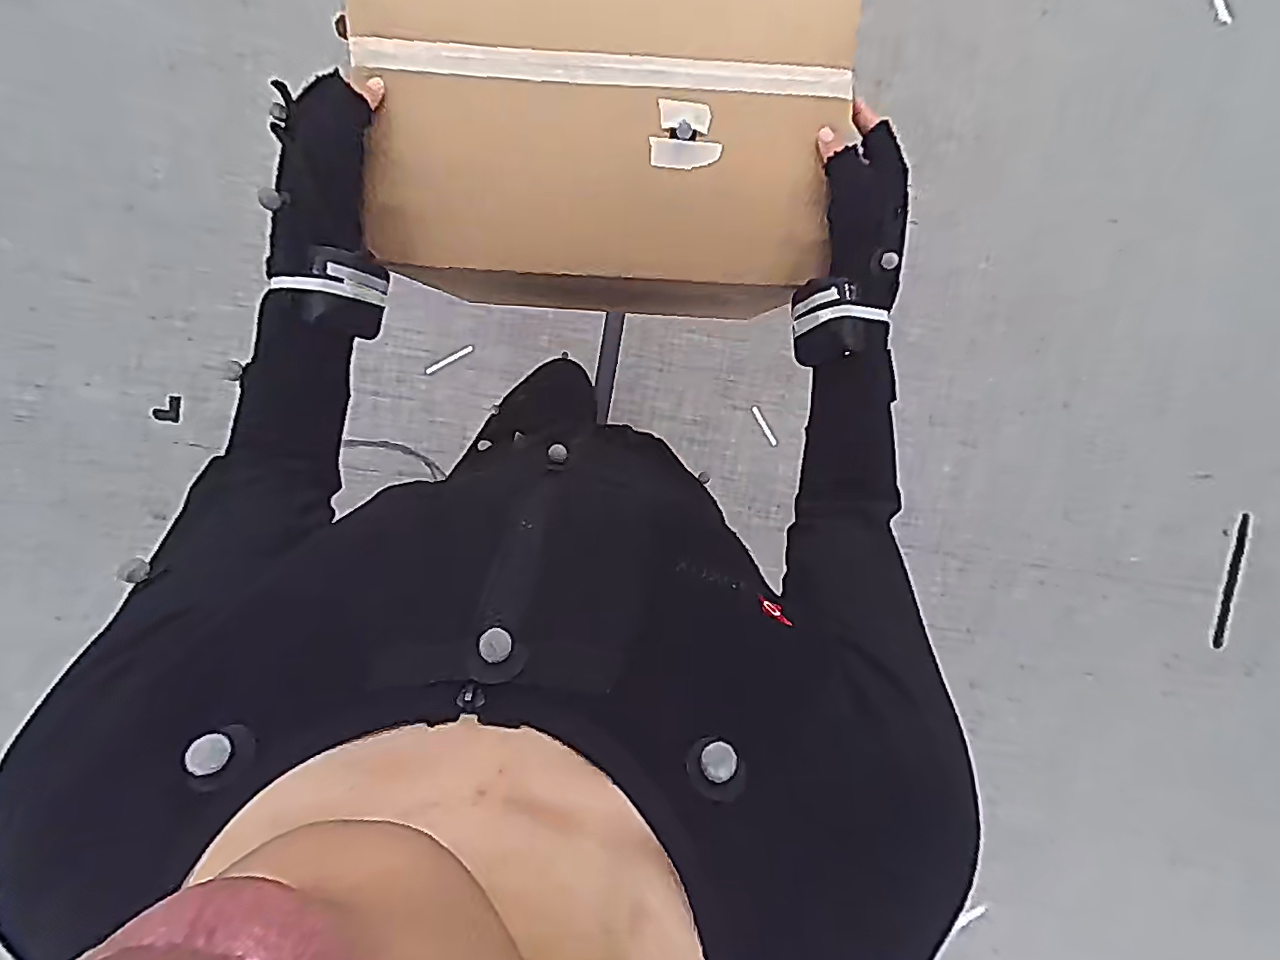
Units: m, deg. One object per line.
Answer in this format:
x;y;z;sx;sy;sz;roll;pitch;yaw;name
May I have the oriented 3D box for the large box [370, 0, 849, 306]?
-0.032;-0.376;0.603;0.408;0.320;0.320;2;103;-3;large box
